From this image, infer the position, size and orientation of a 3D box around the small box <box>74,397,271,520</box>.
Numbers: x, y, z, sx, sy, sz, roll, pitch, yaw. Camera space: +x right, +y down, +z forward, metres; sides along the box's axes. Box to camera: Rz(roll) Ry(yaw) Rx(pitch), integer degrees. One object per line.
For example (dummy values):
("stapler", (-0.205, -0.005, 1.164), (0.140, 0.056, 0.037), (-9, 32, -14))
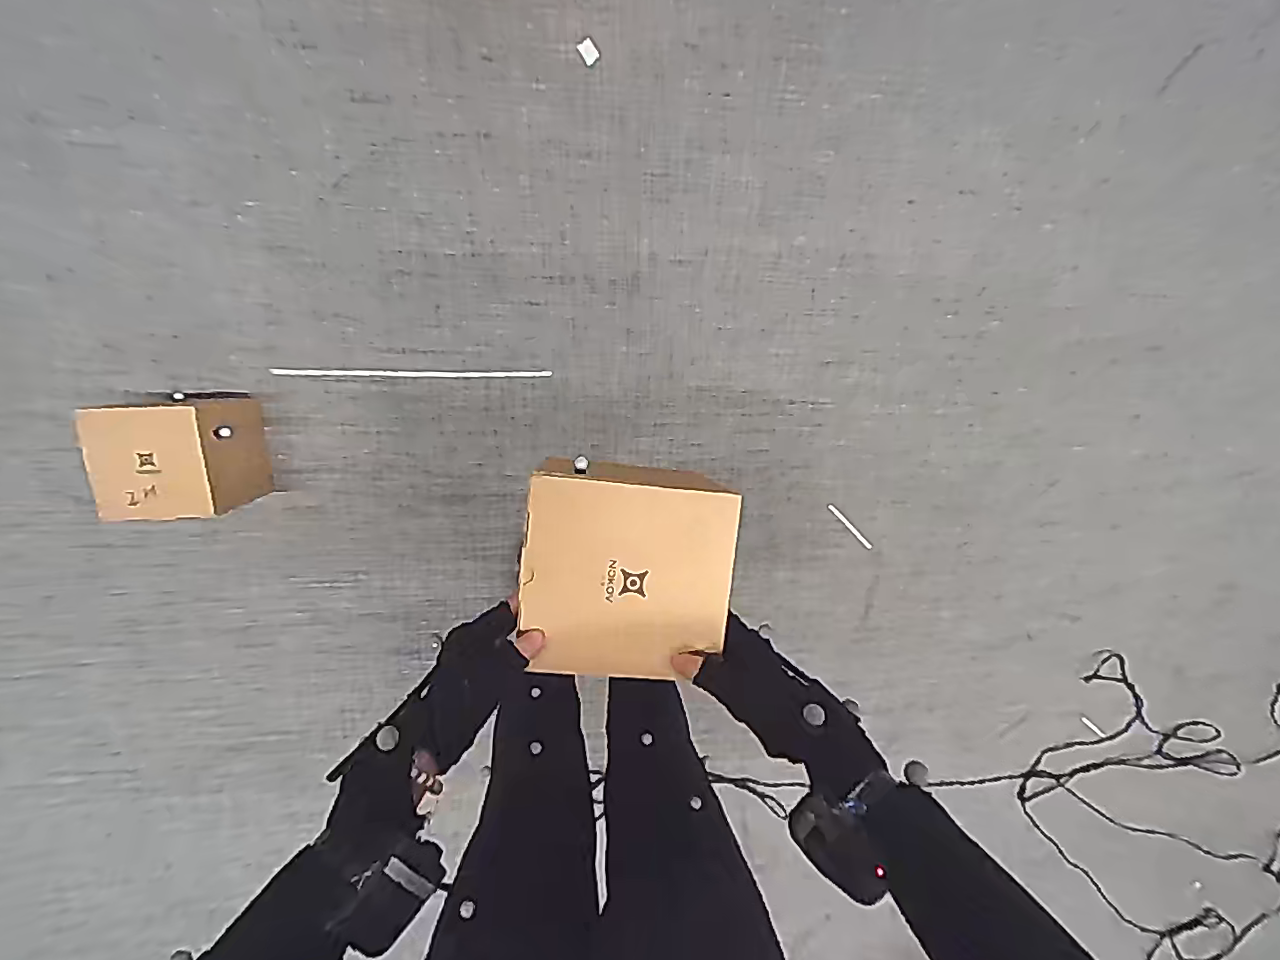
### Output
("small box", (-0.744, -0.044, 0.883), (0.168, 0.176, 0.179), (-2, 104, -6))

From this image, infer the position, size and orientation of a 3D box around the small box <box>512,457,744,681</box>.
("small box", (-0.017, 0.072, 0.521), (0.179, 0.176, 0.168), (6, 97, -6))
